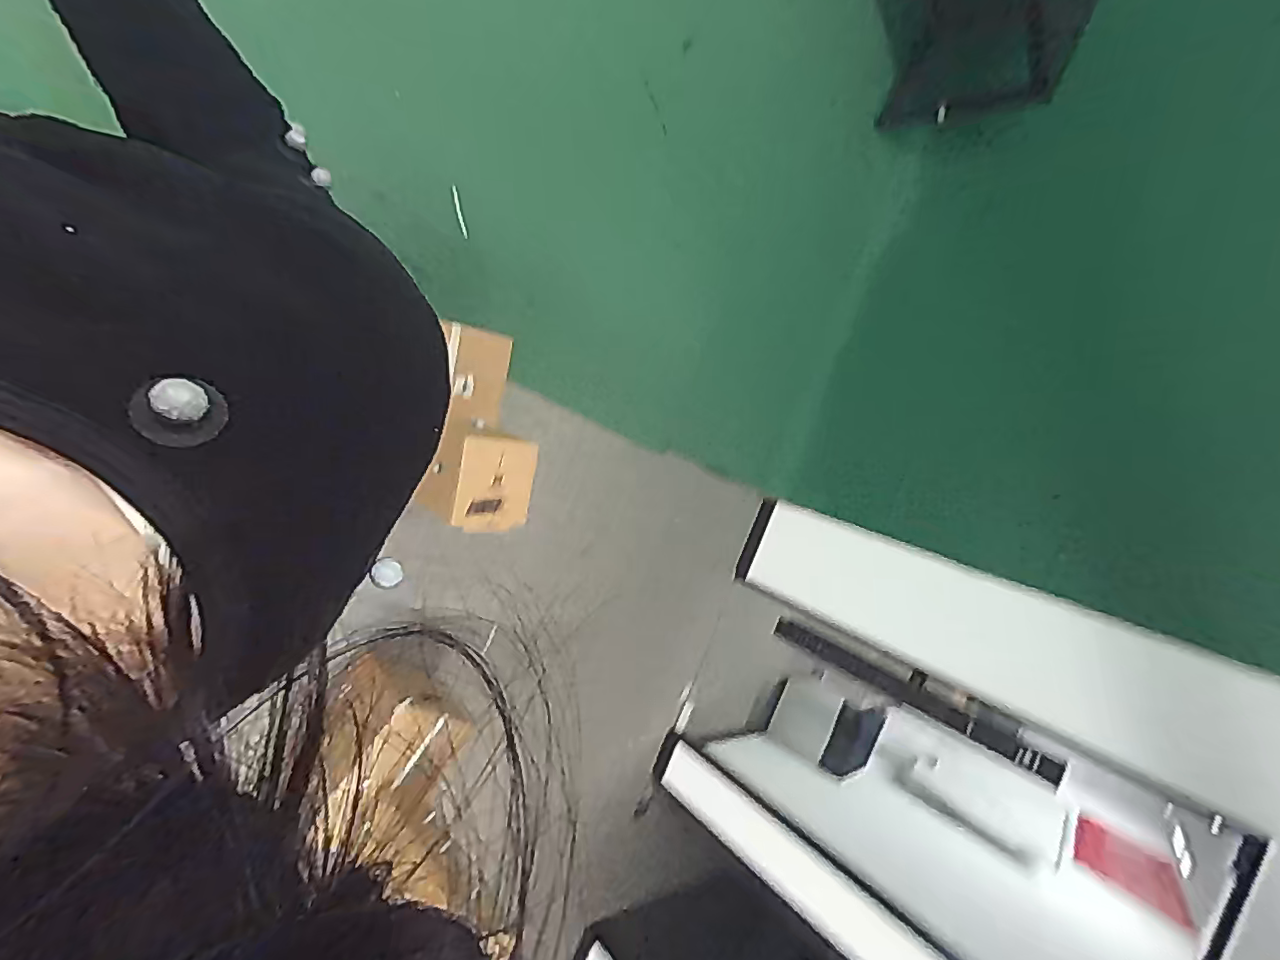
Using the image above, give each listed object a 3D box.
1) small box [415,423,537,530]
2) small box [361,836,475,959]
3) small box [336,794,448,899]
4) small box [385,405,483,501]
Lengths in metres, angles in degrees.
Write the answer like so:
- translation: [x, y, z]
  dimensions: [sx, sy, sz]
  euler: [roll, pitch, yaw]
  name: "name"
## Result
- translation: [-0.337, -0.007, 1.098]
  dimensions: [0.168, 0.176, 0.179]
  euler: [4, 102, -46]
  name: "small box"
- translation: [-0.547, 1.018, 1.318]
  dimensions: [0.179, 0.176, 0.168]
  euler: [-53, 137, -16]
  name: "small box"
- translation: [-0.654, 0.963, 1.427]
  dimensions: [0.168, 0.176, 0.179]
  euler: [-54, 137, -15]
  name: "small box"
- translation: [-0.448, -0.053, 1.210]
  dimensions: [0.168, 0.176, 0.179]
  euler: [10, 99, -47]
  name: "small box"
